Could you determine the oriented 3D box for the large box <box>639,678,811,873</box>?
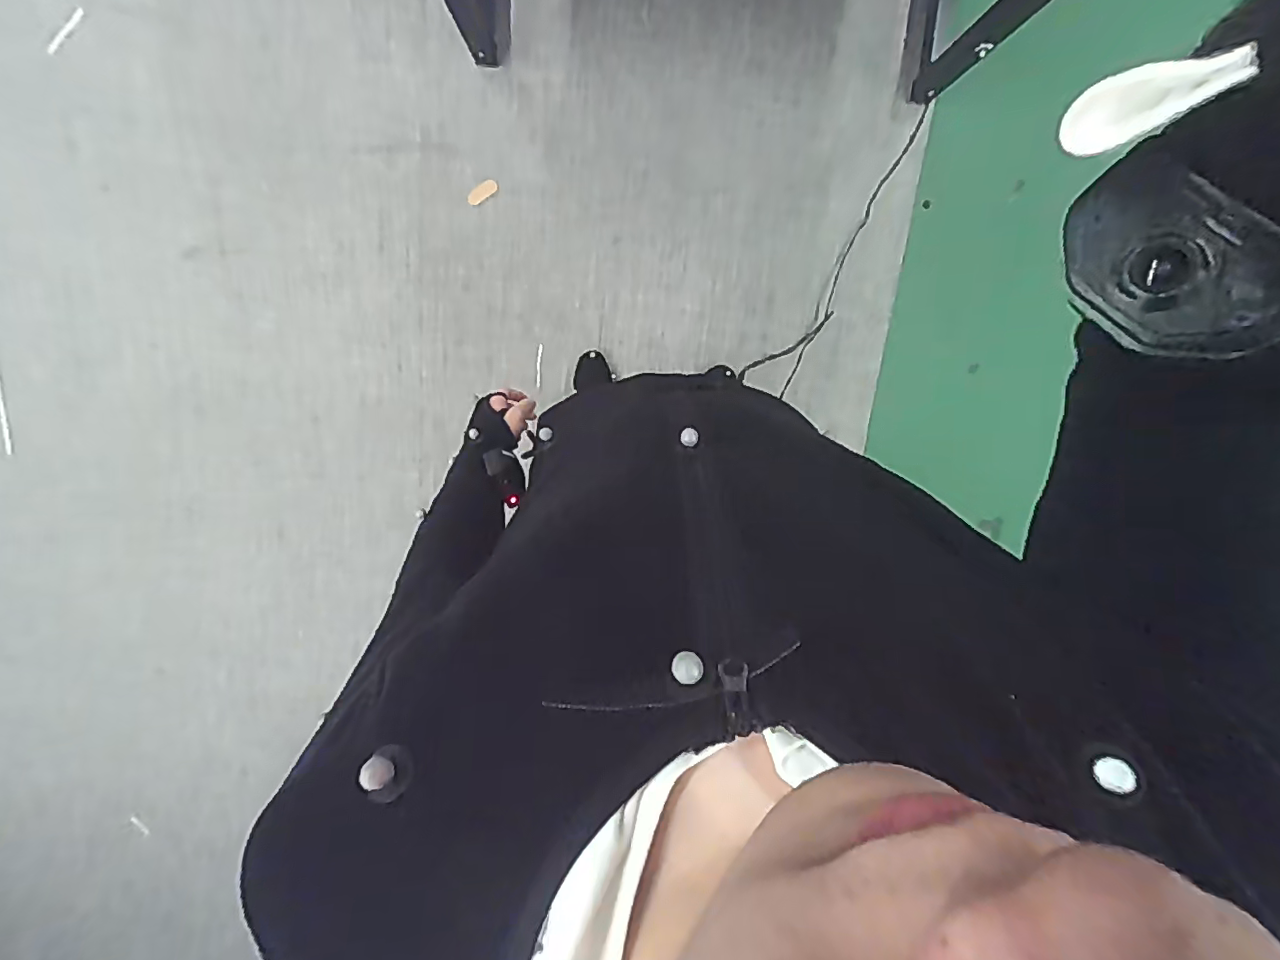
[{"bbox_3d":[0.244,0.900,1.684,0.408,0.320,0.320,-28,103,3],"label":"large box"}]
